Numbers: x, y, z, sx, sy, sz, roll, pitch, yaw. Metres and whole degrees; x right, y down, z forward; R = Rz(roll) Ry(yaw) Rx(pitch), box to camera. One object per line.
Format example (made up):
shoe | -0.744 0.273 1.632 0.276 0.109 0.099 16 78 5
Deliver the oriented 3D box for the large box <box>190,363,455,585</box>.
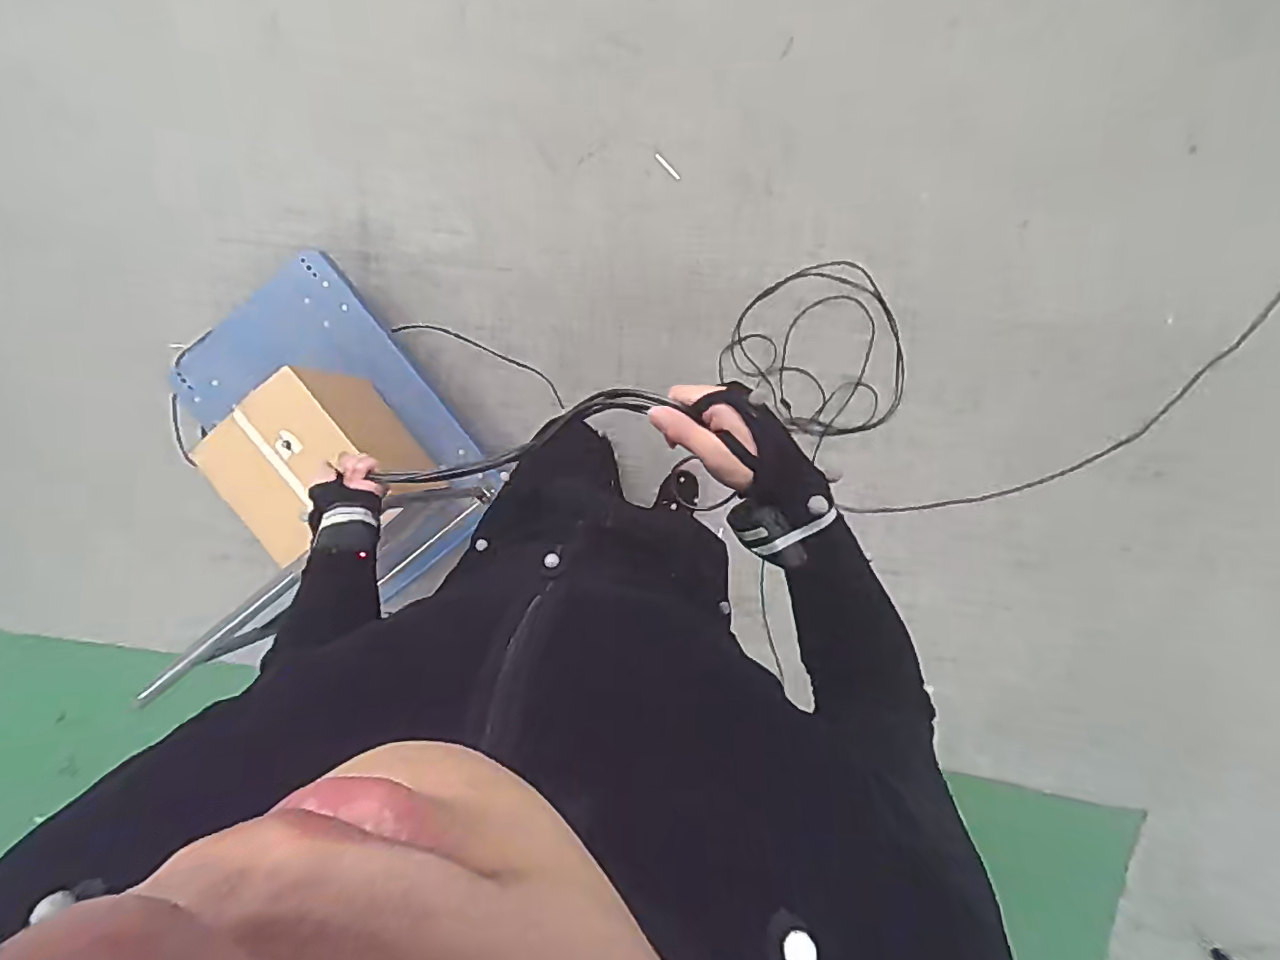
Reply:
large box | -0.744 -0.018 1.329 0.320 0.320 0.408 -38 91 5
